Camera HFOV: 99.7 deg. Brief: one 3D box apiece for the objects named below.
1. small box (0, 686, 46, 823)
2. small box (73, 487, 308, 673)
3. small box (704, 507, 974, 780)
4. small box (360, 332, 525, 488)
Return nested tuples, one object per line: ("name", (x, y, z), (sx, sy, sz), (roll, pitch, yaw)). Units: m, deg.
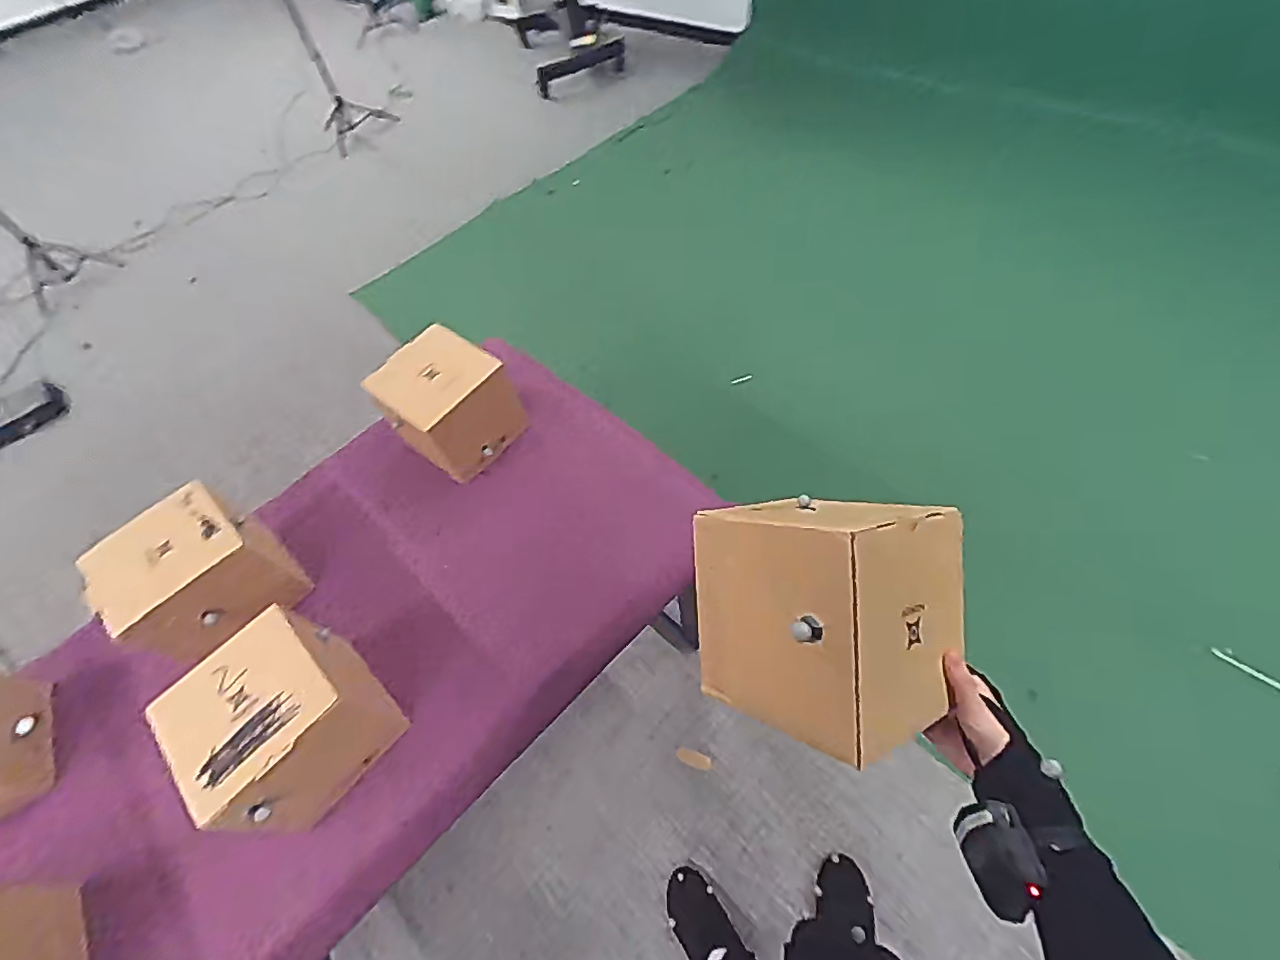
("small box", (-0.915, 0.369, 0.671), (0.179, 0.176, 0.168), (-31, 60, -15))
("small box", (-0.639, 0.151, 0.788), (0.168, 0.176, 0.179), (37, 68, 24))
("small box", (0.172, 0.120, 0.485), (0.168, 0.176, 0.179), (-4, 92, -37))
("small box", (-0.328, -0.115, 0.930), (0.179, 0.176, 0.168), (32, 67, 23))
